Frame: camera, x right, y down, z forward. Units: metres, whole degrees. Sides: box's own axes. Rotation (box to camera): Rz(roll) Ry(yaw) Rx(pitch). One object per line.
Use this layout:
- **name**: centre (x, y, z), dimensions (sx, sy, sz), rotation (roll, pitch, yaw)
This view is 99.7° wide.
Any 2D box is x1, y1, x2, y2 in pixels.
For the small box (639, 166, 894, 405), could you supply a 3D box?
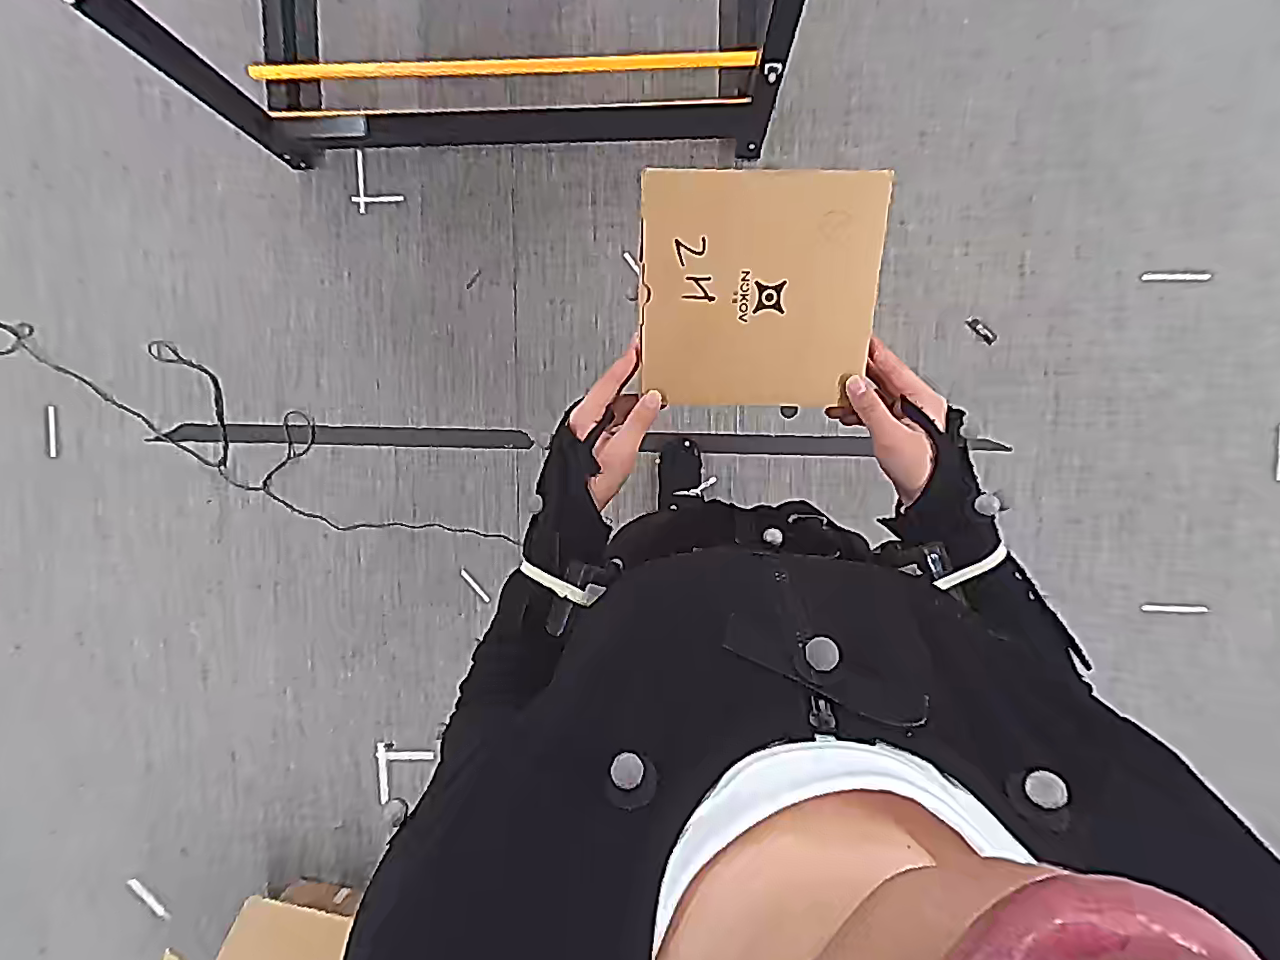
- **small box**: centre (0.089, -0.165, 0.476), dimensions (0.179, 0.176, 0.168), rotation (1, 109, 1)
